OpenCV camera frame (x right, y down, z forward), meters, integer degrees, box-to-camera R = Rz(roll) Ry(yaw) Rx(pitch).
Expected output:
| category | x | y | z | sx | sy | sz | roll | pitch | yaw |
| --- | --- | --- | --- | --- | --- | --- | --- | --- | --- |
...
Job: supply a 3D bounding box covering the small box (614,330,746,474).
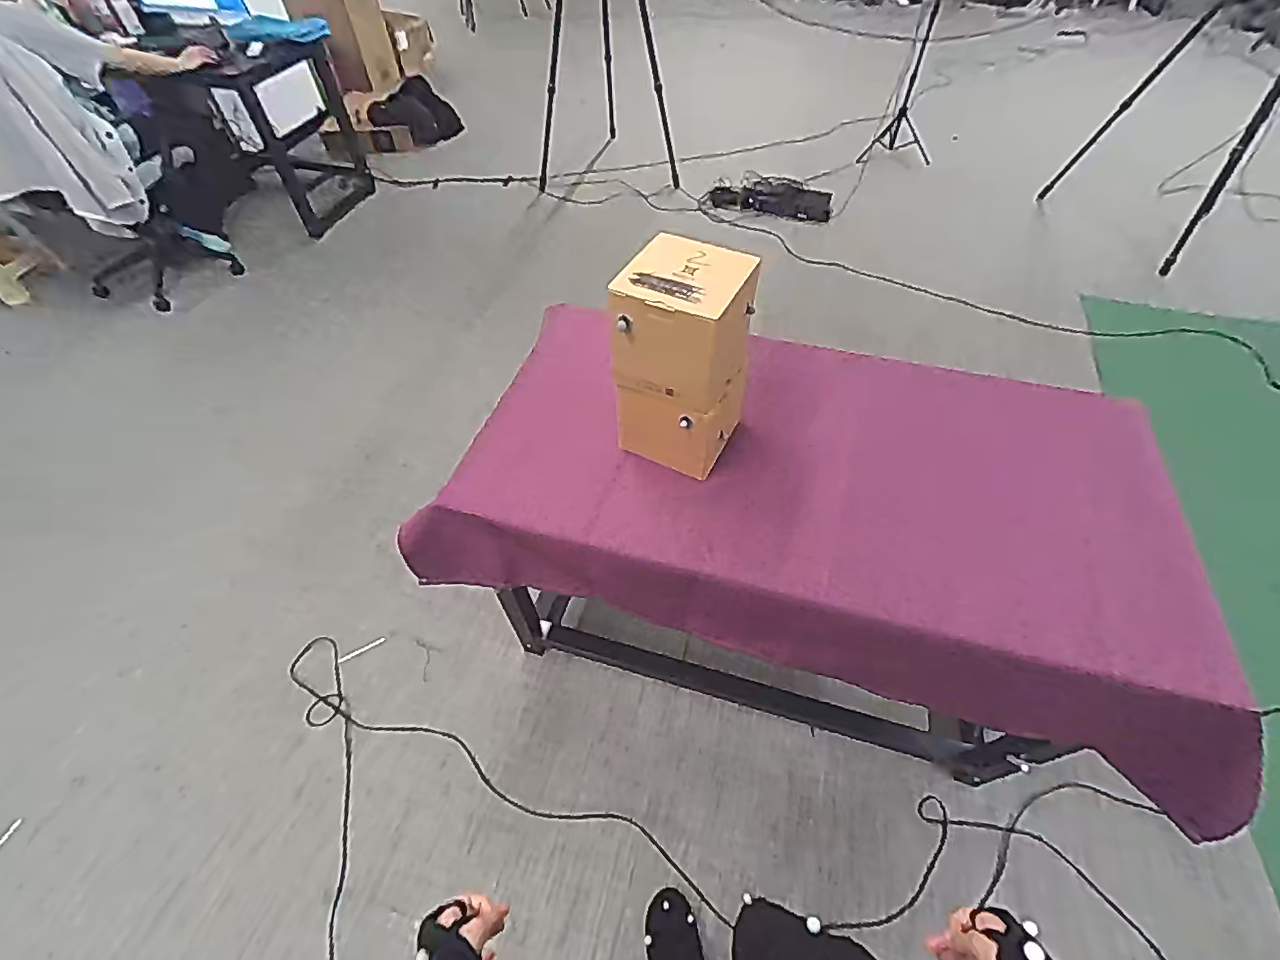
| category | x | y | z | sx | sy | sz | roll | pitch | yaw |
| --- | --- | --- | --- | --- | --- | --- | --- | --- | --- |
| small box | 0.070 | -0.136 | 0.970 | 0.179 | 0.176 | 0.168 | 22 | 55 | 17 |
